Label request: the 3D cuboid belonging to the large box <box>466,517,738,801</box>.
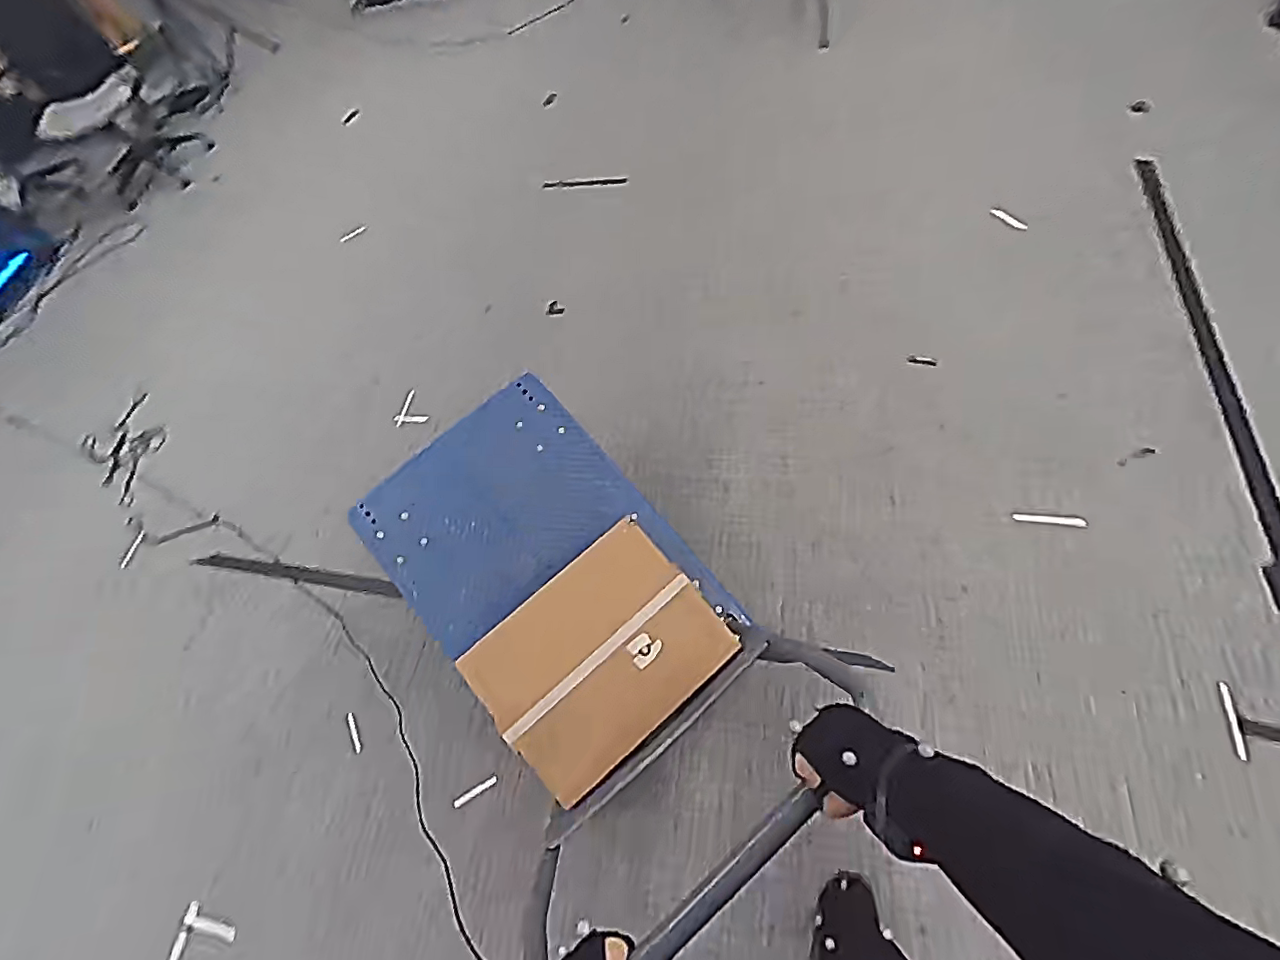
[{"bbox_3d":[-0.070,0.344,1.111,0.408,0.320,0.320,-40,81,-10],"label":"large box"}]
